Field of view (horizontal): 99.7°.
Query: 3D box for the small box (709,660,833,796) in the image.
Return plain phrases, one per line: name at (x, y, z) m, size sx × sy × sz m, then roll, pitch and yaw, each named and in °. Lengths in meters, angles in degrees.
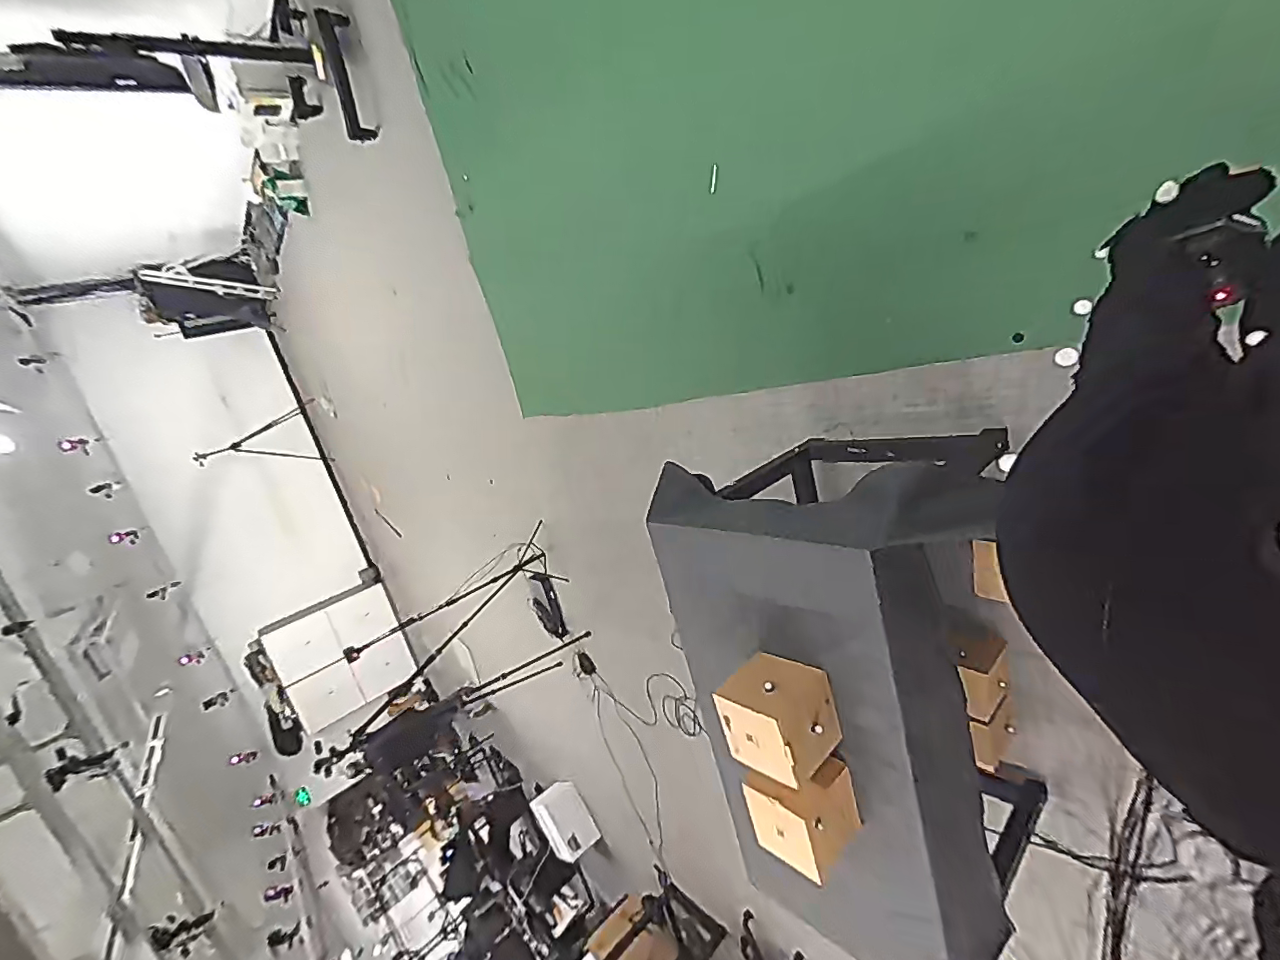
small box at (0.278, 0.498, 1.118) m, size 0.179 × 0.176 × 0.168 m, roll -3°, pitch 108°, yaw 51°
